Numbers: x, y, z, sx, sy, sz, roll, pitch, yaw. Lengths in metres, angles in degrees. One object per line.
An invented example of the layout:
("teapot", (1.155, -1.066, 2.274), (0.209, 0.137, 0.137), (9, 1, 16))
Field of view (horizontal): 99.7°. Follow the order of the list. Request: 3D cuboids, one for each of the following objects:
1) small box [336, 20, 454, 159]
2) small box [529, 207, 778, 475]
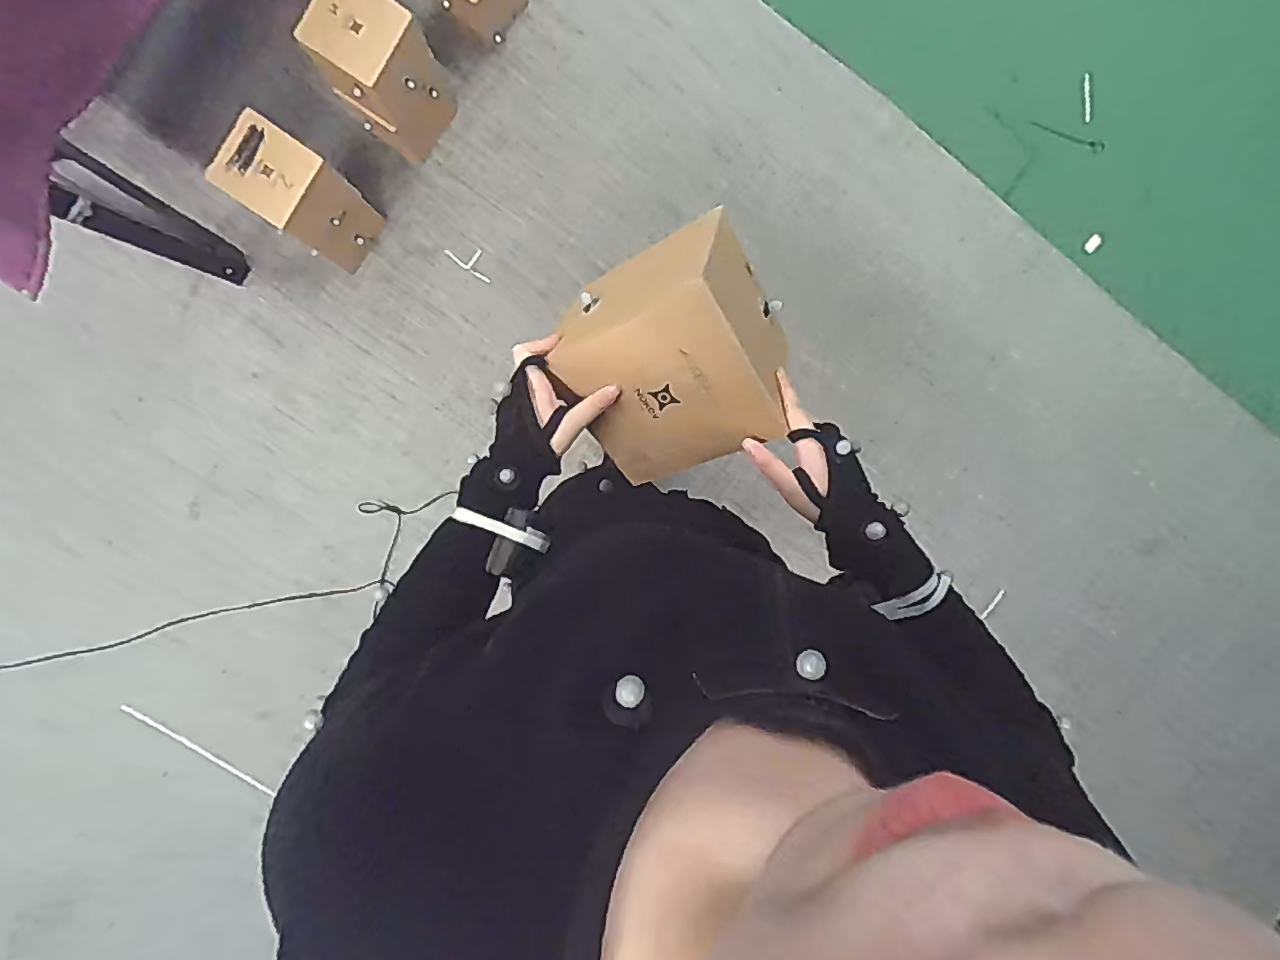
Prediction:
("small box", (-0.575, -0.923, 1.300), (0.168, 0.176, 0.179), (34, 93, -5))
("small box", (0.027, -0.137, 0.546), (0.179, 0.176, 0.168), (-18, 126, 31))
